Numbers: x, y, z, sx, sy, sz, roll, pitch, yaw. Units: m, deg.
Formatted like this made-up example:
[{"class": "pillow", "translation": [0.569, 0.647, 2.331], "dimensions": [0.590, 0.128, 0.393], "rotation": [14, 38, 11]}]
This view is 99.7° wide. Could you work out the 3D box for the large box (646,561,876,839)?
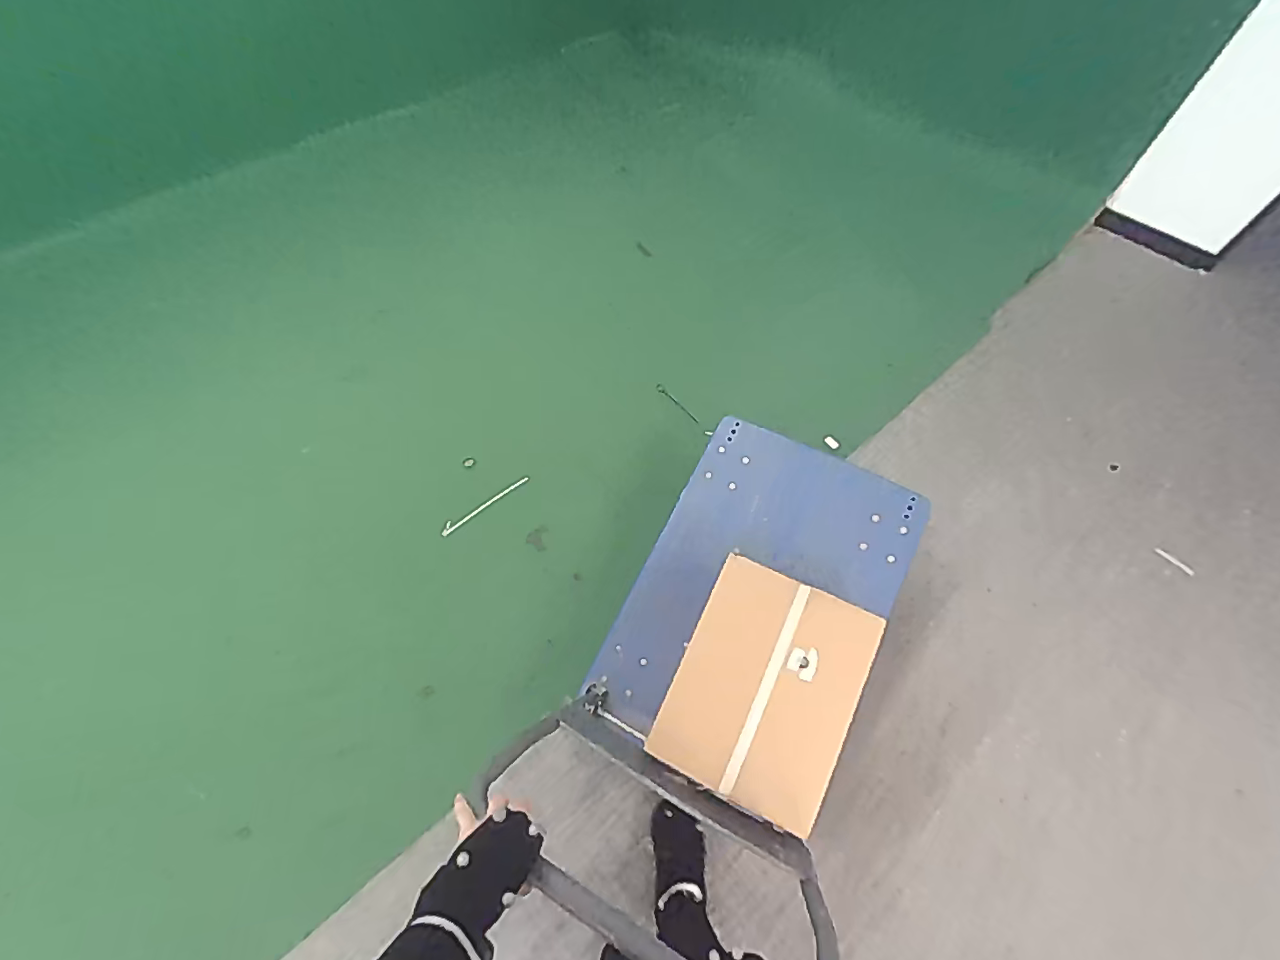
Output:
[{"class": "large box", "translation": [0.247, 0.441, 1.150], "dimensions": [0.320, 0.320, 0.408], "rotation": [24, 76, 14]}]
